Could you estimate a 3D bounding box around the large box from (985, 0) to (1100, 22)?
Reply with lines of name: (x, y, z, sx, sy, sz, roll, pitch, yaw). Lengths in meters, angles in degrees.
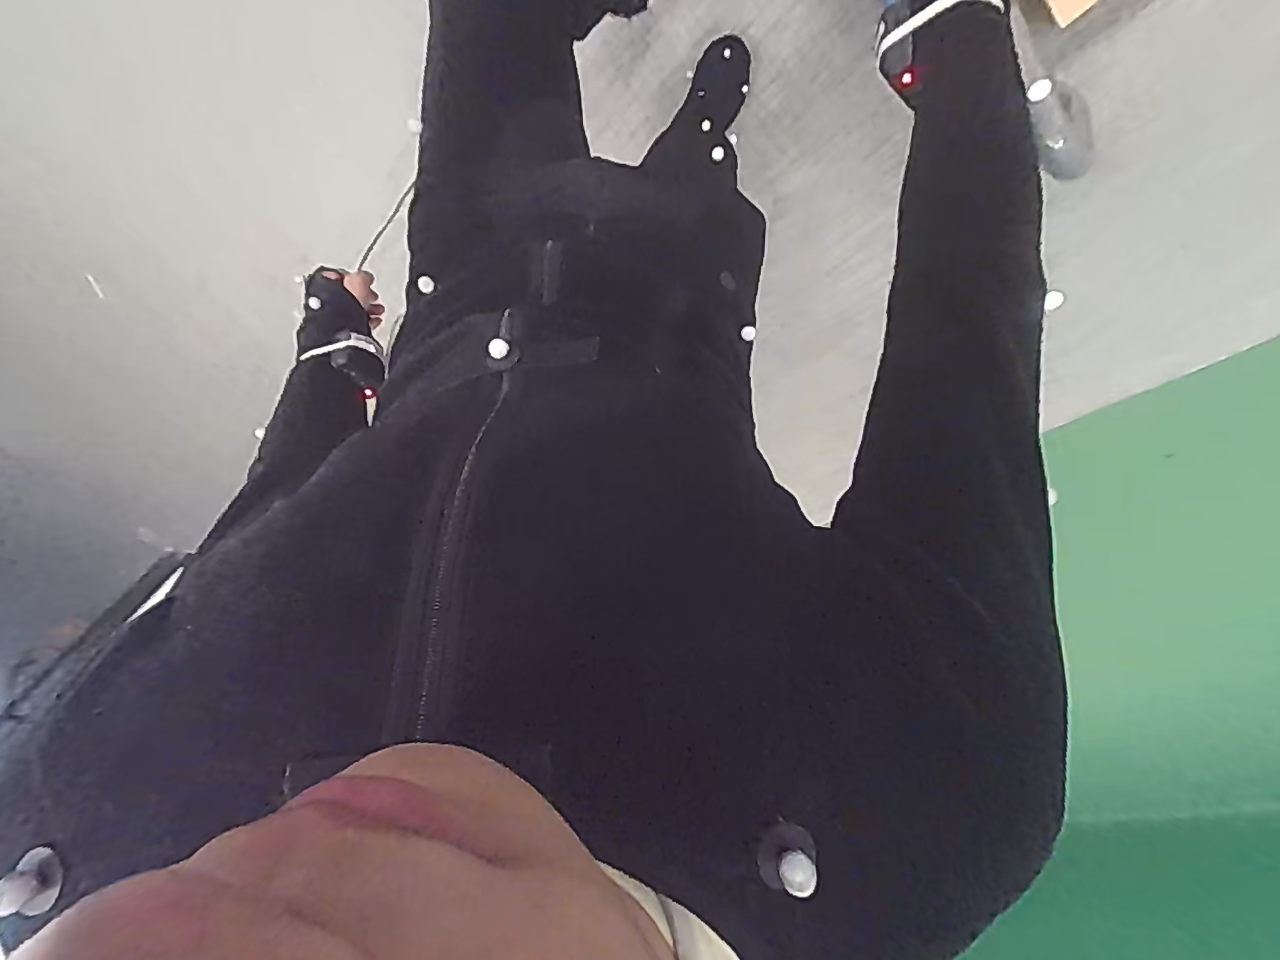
large box: (0.595, -0.863, 0.635, 0.320, 0.320, 0.408, 39, 128, -24)
